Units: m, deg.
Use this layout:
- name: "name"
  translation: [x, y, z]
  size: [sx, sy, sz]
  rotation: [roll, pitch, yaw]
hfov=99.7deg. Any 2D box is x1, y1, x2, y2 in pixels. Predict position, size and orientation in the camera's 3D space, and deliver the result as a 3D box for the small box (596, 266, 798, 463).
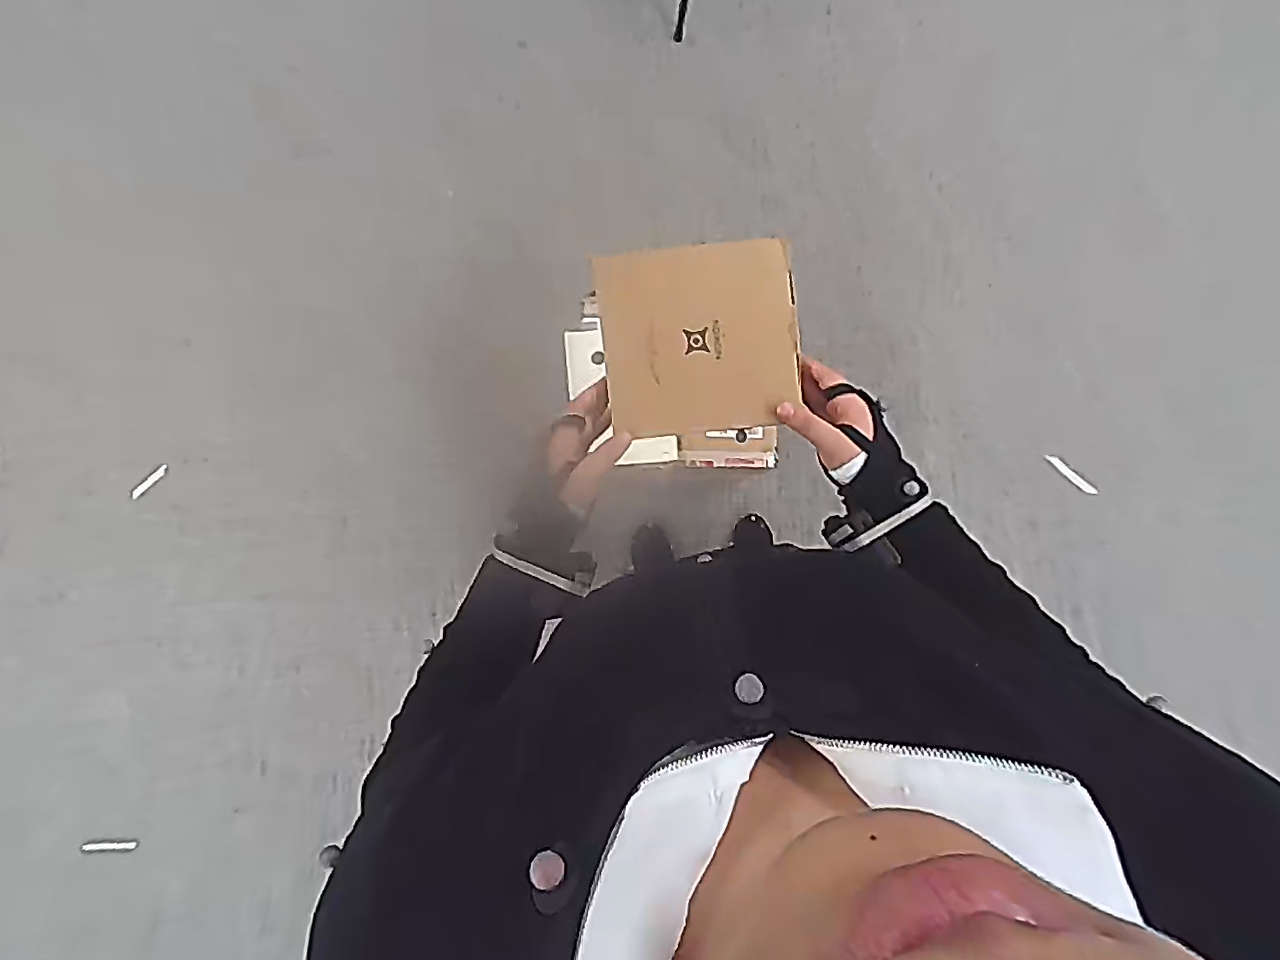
- name: "small box"
  translation: [0.052, -0.113, 0.581]
  size: [0.179, 0.176, 0.168]
  rotation: [-8, 94, 0]
